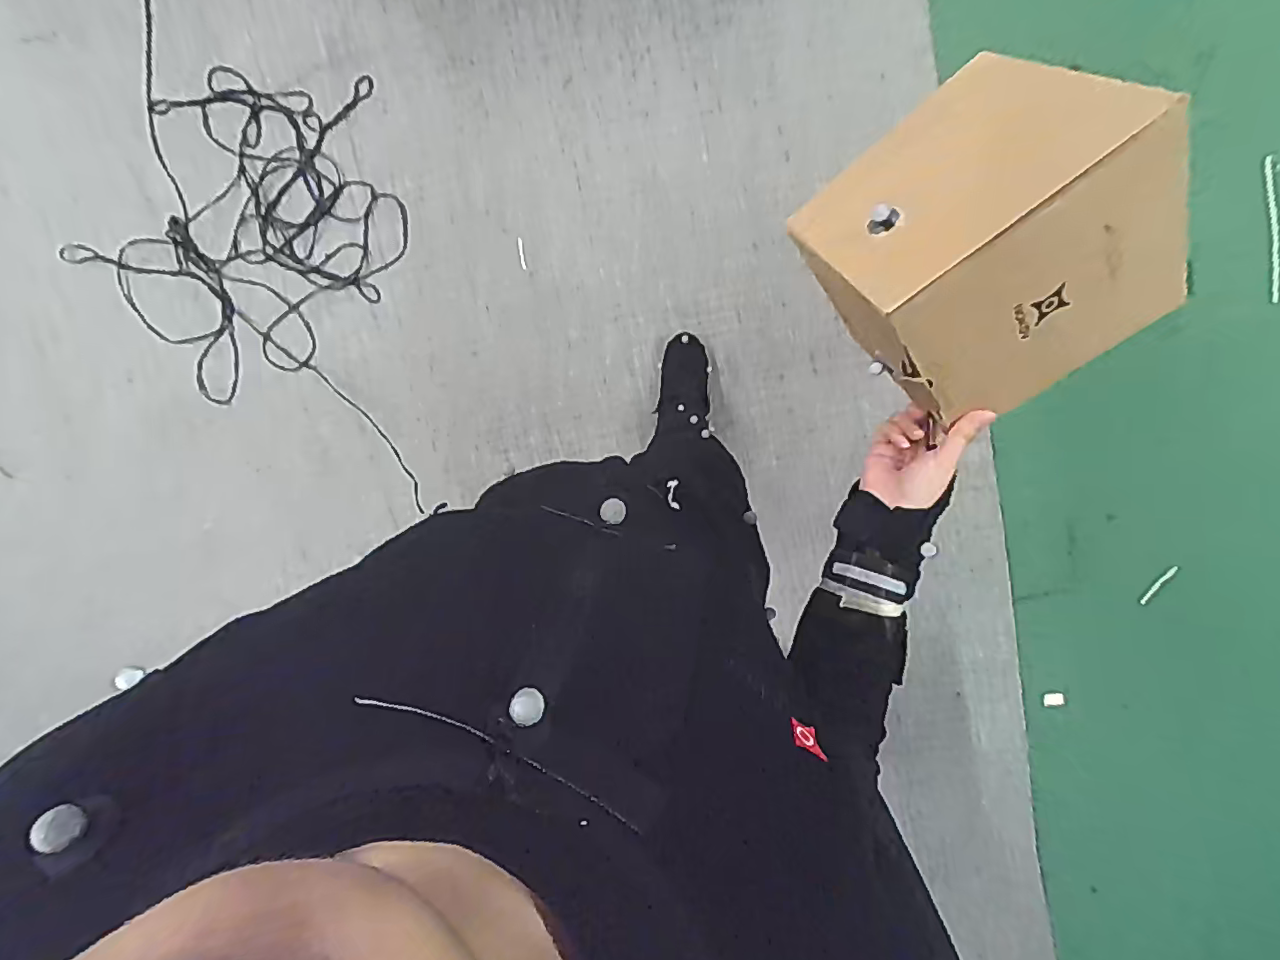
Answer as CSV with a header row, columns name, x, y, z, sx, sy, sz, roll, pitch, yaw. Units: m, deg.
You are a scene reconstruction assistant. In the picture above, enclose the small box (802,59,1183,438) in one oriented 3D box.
name,x,y,z,sx,sy,sz,roll,pitch,yaw
small box,0.250,-0.173,0.416,0.179,0.176,0.168,-39,133,19
